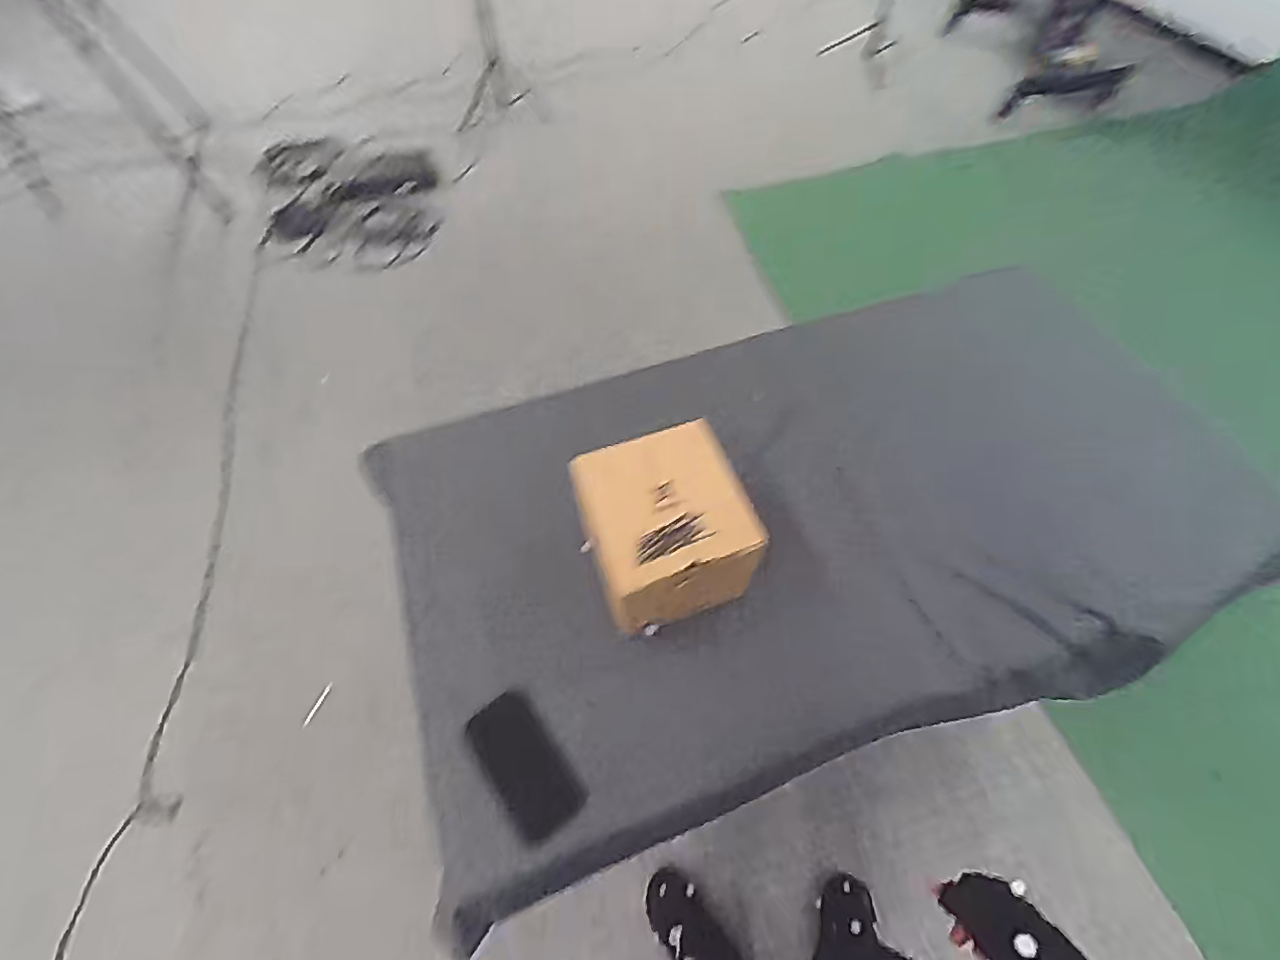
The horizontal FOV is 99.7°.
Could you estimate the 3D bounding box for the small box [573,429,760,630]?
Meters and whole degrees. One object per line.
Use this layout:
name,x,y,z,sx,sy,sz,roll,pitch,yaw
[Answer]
small box,0.026,0.071,0.672,0.168,0.176,0.179,-17,59,-11
